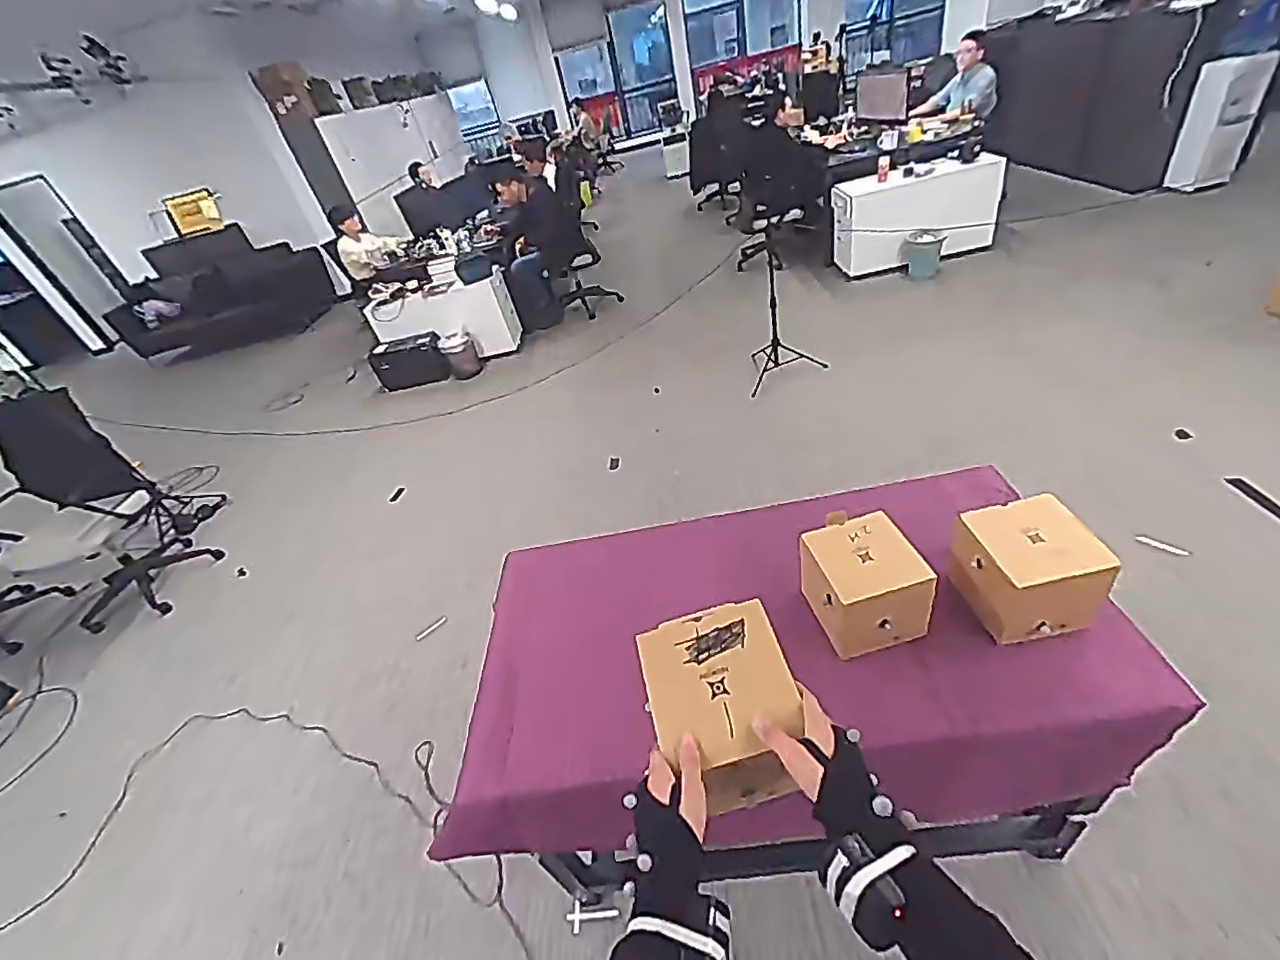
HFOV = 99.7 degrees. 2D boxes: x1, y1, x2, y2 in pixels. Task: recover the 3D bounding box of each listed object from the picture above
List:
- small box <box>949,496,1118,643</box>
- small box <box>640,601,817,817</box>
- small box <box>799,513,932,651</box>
[{"bbox_3d":[0.679,0.159,0.963,0.168,0.176,0.179,-14,37,4],"label":"small box"},{"bbox_3d":[0.109,0.288,0.679,0.168,0.176,0.179,-18,44,2],"label":"small box"},{"bbox_3d":[0.414,0.196,1.011,0.168,0.176,0.179,-16,37,-1],"label":"small box"}]
